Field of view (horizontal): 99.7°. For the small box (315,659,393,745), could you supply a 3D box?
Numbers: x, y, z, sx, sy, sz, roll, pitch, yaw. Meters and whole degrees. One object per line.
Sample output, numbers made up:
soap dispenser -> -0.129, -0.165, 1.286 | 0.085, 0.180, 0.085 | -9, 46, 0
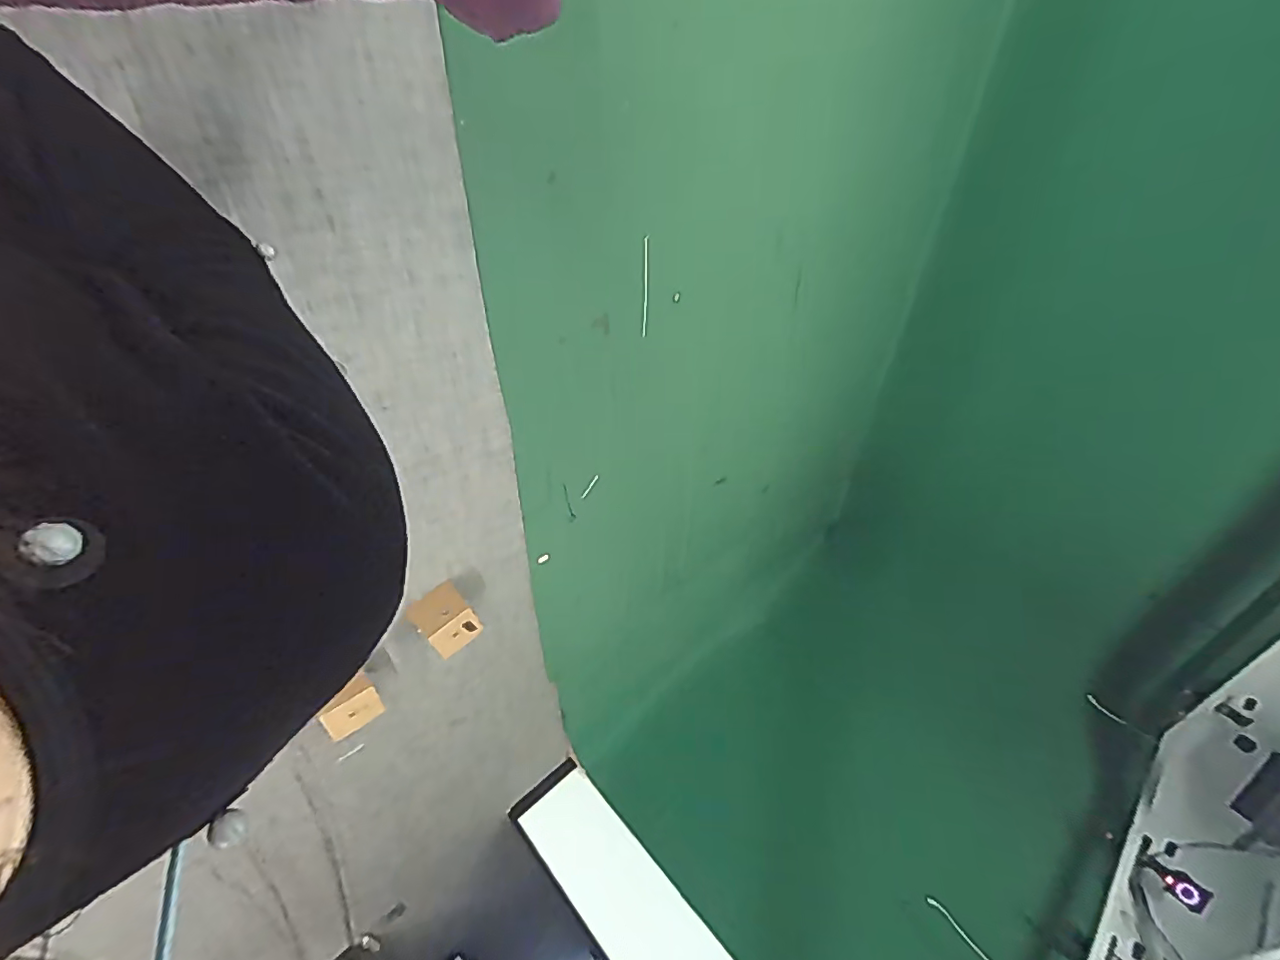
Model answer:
small box -> -0.984, 0.755, 1.850 | 0.179, 0.176, 0.168 | -29, 137, -33

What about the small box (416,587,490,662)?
small box -> -0.696, 0.531, 2.010 | 0.179, 0.176, 0.168 | -38, 140, -23
